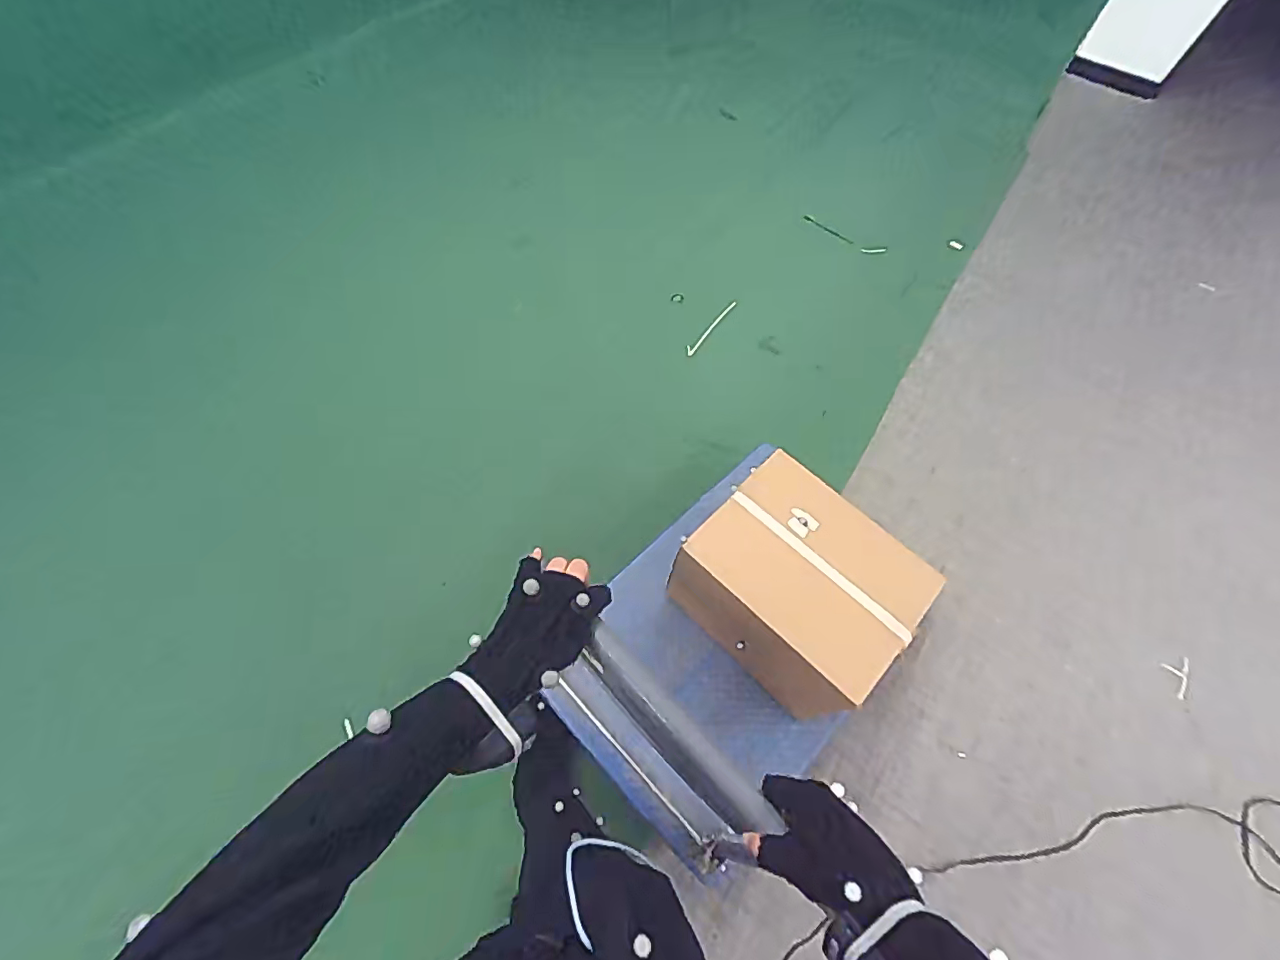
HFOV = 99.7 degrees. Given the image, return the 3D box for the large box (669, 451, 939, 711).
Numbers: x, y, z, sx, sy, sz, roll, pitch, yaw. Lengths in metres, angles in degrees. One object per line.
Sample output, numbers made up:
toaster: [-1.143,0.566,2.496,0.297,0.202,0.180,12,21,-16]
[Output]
large box: [0.317,0.222,1.156,0.408,0.320,0.320,42,67,17]
